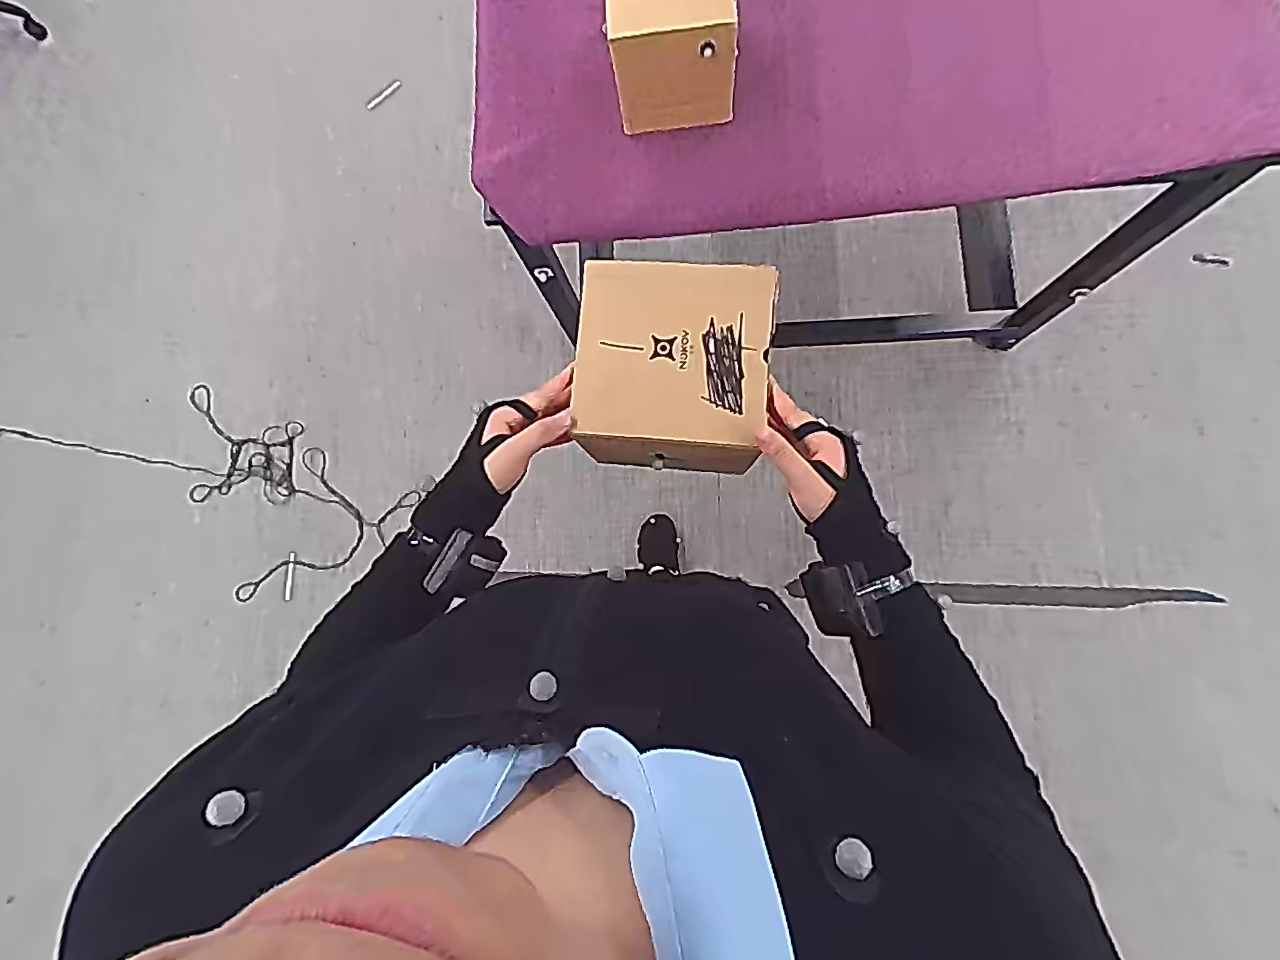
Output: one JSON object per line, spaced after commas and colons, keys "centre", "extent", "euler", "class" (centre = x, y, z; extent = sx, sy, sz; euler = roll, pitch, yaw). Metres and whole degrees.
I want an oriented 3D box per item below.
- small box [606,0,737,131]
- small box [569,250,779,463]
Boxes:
{"centre": [0.047, -0.659, 0.809], "extent": [0.179, 0.176, 0.168], "euler": [-4, 81, 5], "class": "small box"}
{"centre": [0.037, -0.113, 0.557], "extent": [0.179, 0.176, 0.168], "euler": [5, 83, 6], "class": "small box"}
